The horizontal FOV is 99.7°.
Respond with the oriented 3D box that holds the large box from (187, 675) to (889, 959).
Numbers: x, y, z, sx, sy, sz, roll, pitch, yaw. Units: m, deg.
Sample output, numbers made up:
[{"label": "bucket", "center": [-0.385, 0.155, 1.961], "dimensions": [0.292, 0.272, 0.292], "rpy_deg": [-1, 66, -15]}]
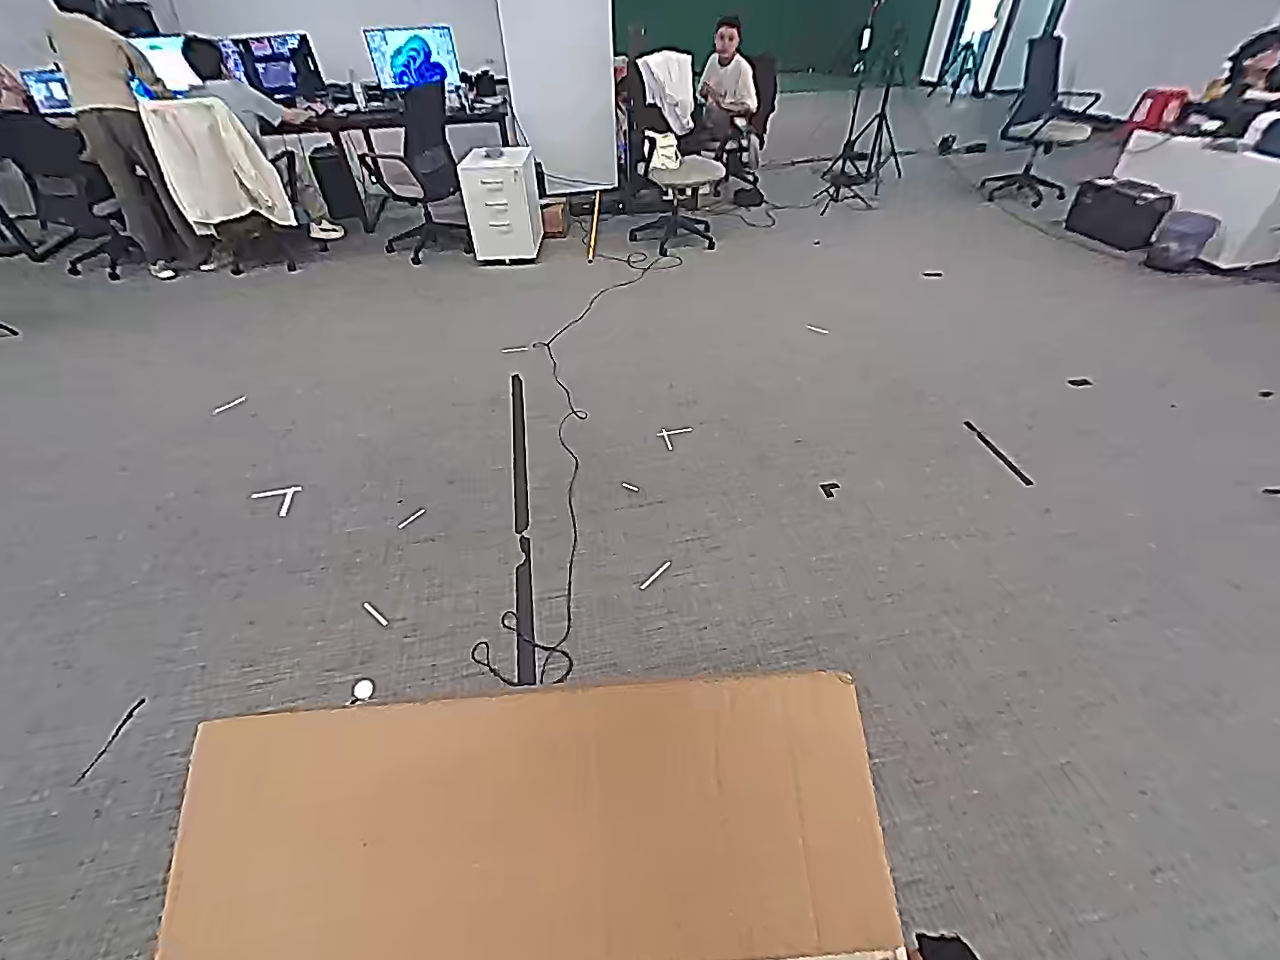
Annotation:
[{"label": "large box", "center": [-0.059, 0.339, 0.439], "dimensions": [0.408, 0.320, 0.320], "rpy_deg": [-4, 71, -3]}]
